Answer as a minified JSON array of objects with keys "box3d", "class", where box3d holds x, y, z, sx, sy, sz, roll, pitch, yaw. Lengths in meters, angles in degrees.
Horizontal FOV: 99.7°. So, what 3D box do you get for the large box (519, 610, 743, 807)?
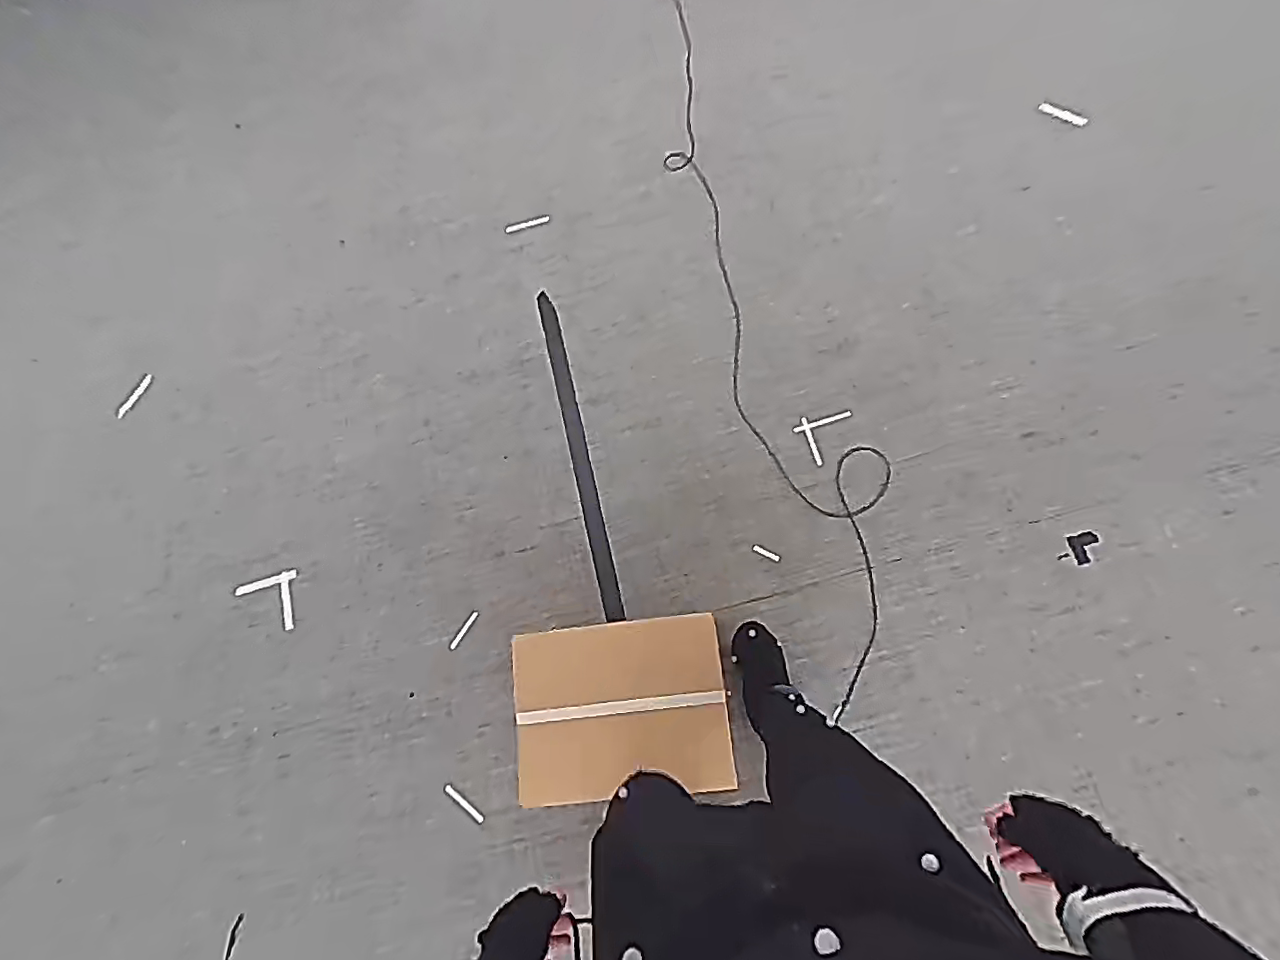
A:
[{"box3d":[-0.013,0.467,1.166,0.408,0.320,0.320,-8,75,4],"class":"large box"}]
